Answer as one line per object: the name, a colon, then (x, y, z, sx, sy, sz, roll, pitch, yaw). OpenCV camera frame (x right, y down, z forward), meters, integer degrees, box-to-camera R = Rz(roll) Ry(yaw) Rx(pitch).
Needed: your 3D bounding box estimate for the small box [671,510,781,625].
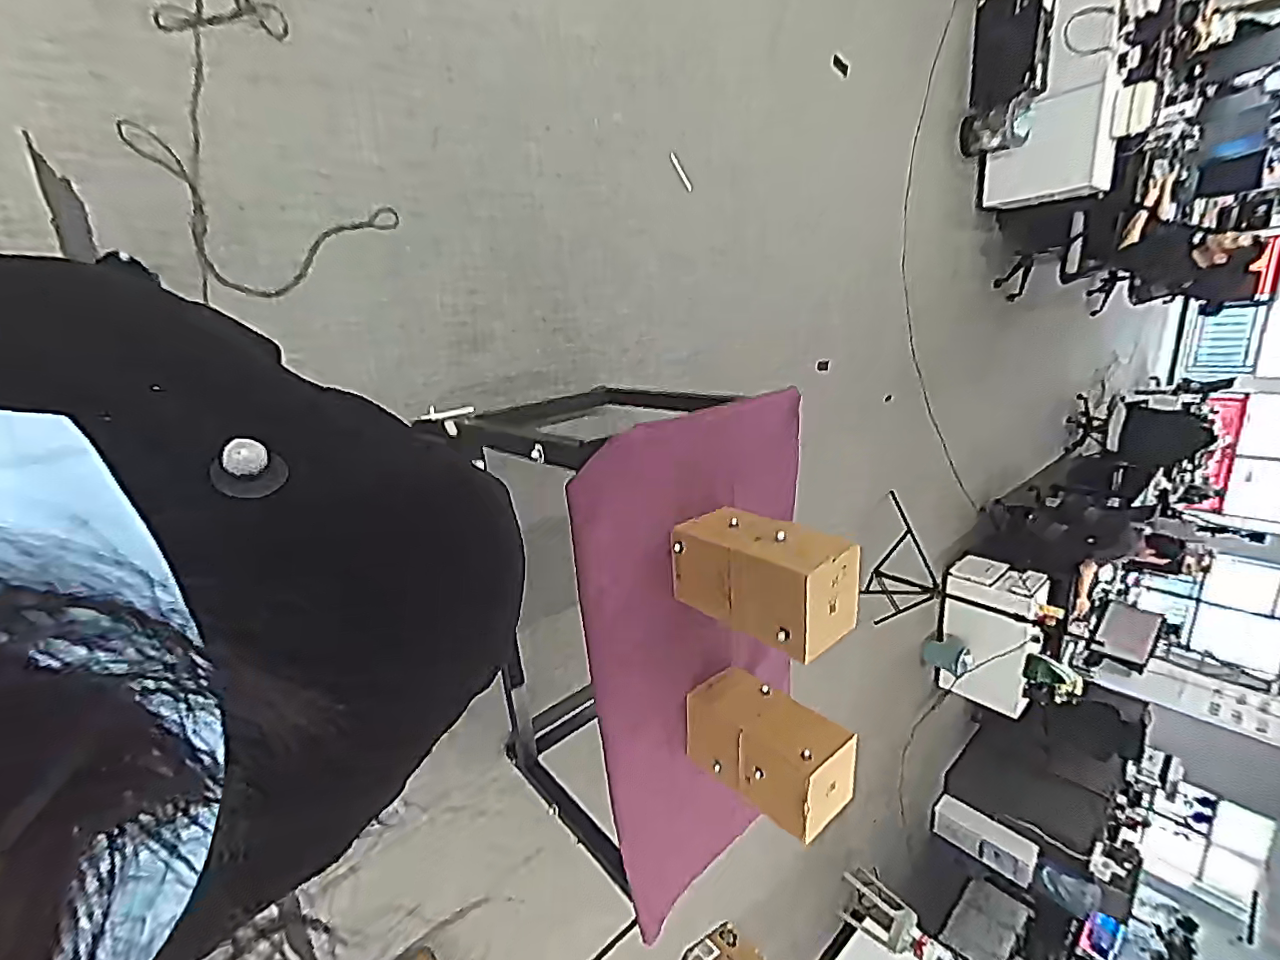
small box: (0.178, 0.175, 1.138, 0.179, 0.176, 0.168, -17, 111, -38)

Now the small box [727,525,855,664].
small box: (0.277, 0.203, 1.009, 0.168, 0.176, 0.179, -18, 112, -37)

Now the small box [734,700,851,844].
small box: (0.319, 0.600, 1.140, 0.179, 0.176, 0.168, -14, 109, -38)
